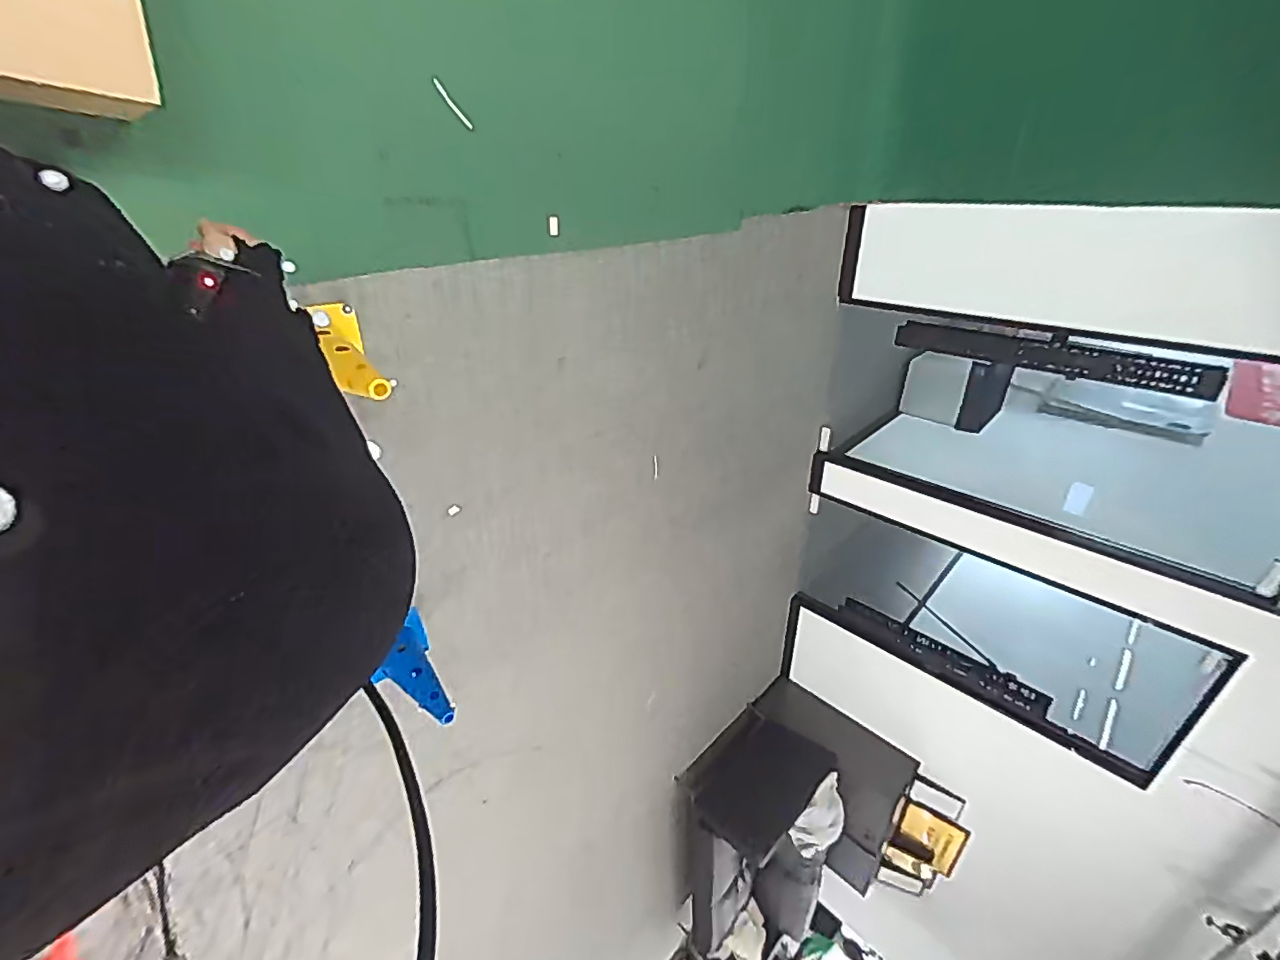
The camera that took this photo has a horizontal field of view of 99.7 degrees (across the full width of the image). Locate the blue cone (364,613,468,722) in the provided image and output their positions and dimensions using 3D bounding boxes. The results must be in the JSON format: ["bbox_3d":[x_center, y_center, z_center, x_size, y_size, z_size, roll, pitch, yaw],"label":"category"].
[{"bbox_3d":[-0.606,0.561,1.526,0.192,0.380,0.193,-26,128,-38],"label":"blue cone"}]

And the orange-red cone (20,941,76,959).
[{"bbox_3d":[-1.281,1.204,1.092,0.199,0.360,0.198,-2,110,-46],"label":"orange-red cone"}]
